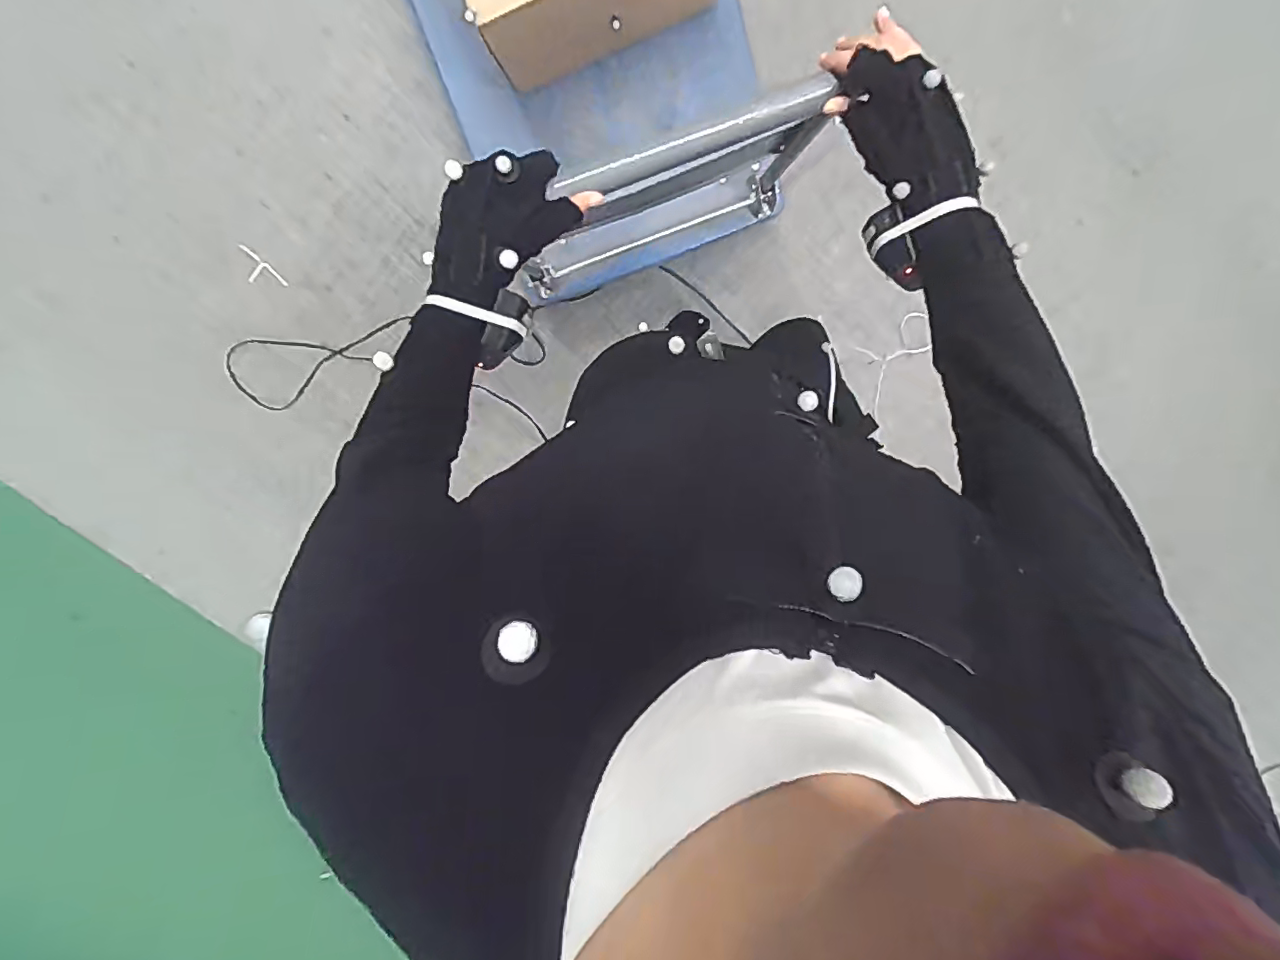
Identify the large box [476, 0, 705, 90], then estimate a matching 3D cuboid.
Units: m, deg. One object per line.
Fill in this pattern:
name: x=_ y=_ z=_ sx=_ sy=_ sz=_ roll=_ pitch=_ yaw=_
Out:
large box: x=-0.090 y=-0.902 z=0.838 sx=0.408 sy=0.320 sz=0.320 roll=-21 pitch=109 yaw=8
